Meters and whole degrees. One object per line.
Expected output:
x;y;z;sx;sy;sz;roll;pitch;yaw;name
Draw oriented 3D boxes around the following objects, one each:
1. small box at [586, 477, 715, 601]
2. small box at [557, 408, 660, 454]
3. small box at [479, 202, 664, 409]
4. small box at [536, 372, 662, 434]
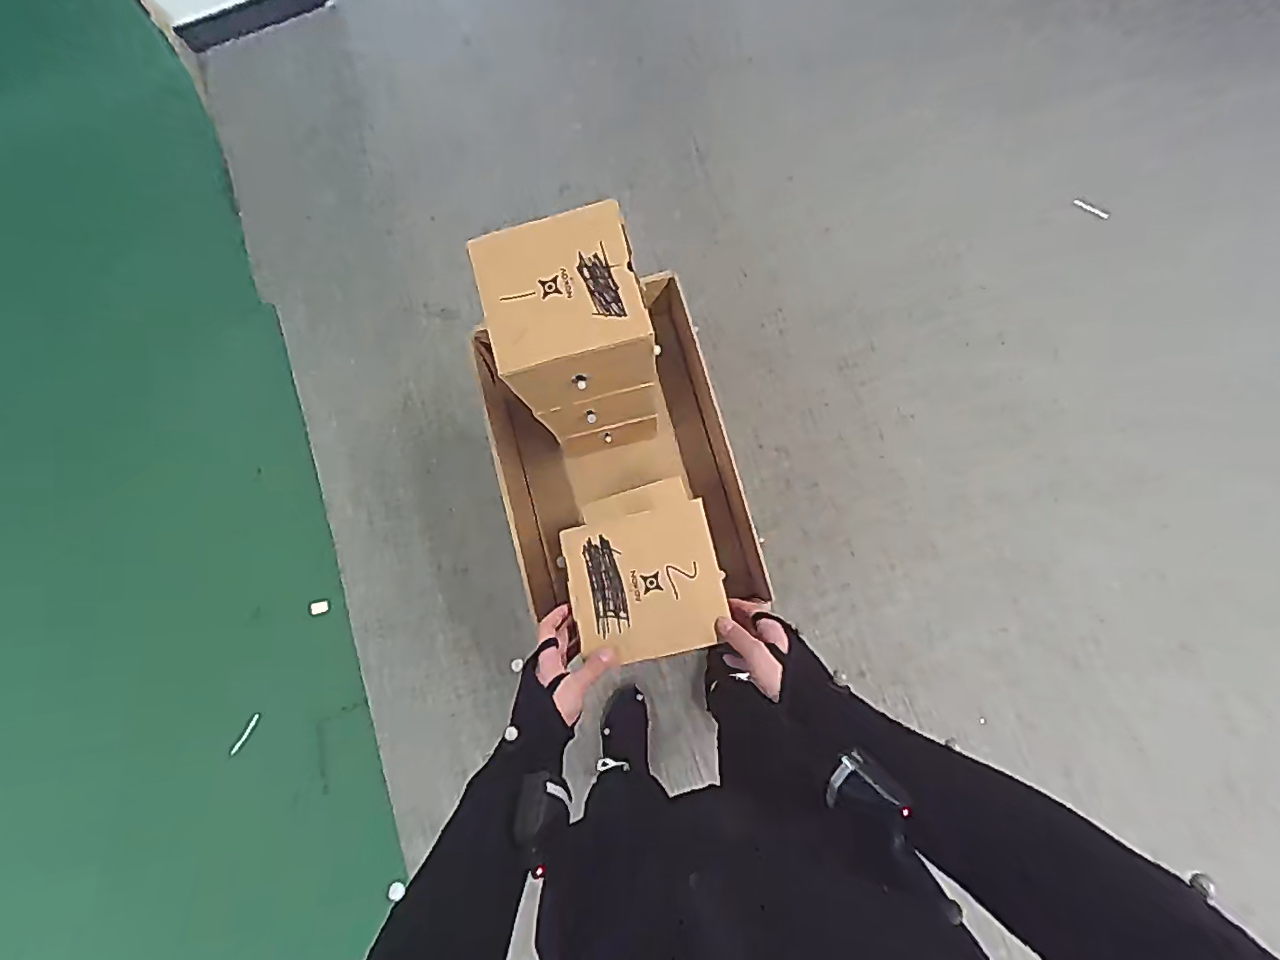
0.018;0.105;0.947;0.179;0.176;0.168;-16;80;0;small box
-0.063;-0.153;0.993;0.179;0.176;0.168;-12;82;0;small box
-0.074;-0.201;0.668;0.179;0.176;0.168;-14;82;1;small box
-0.069;-0.179;0.831;0.179;0.176;0.168;-14;83;1;small box
